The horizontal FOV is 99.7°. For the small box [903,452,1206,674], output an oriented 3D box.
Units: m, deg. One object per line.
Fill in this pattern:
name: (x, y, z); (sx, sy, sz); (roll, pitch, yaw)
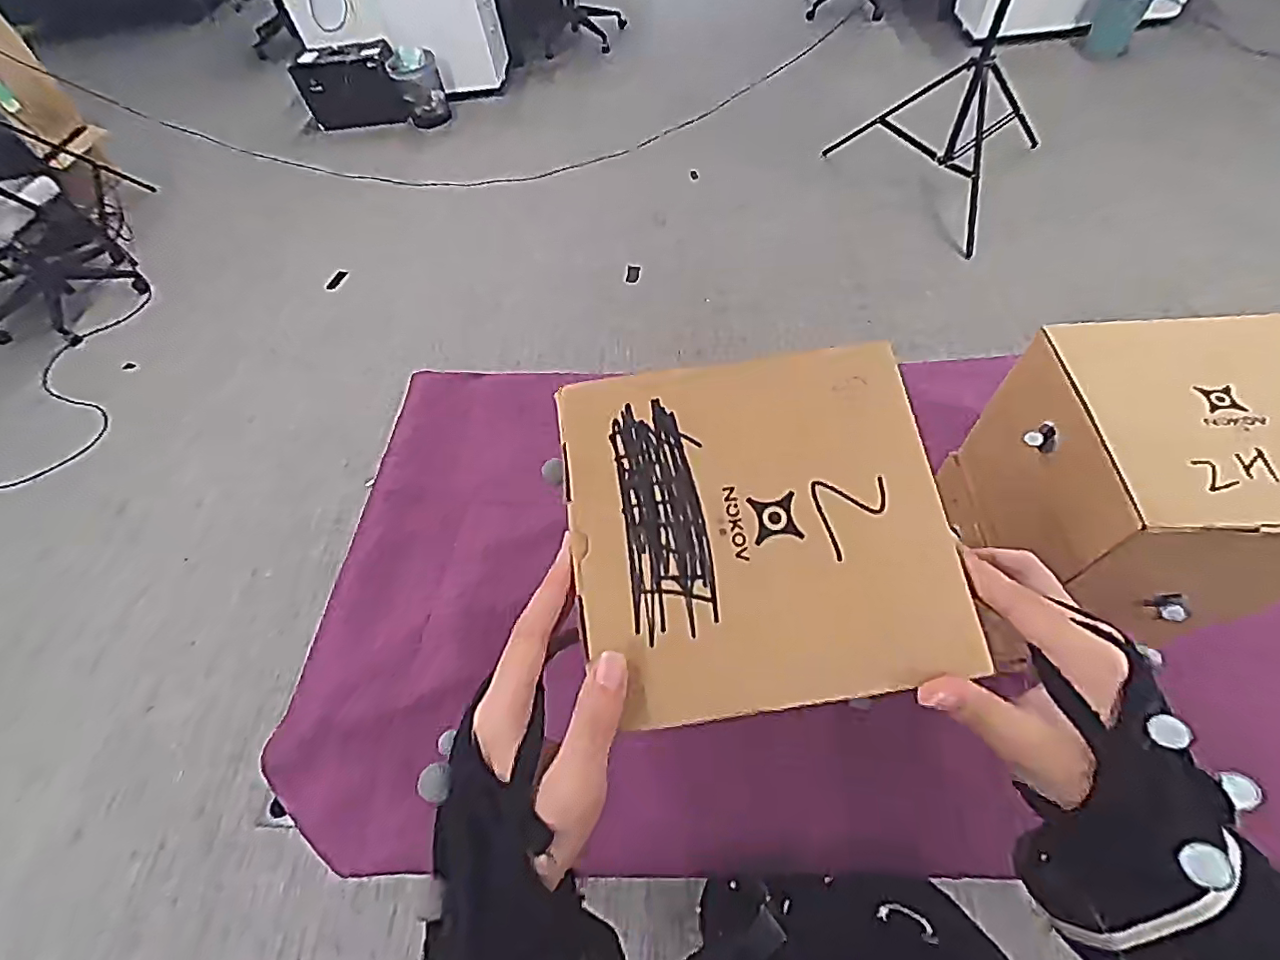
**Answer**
small box: (0.395, 0.088, 0.561); (0.168, 0.176, 0.179); (0, 57, 7)

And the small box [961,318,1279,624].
small box: (0.384, -0.002, 0.423); (0.168, 0.176, 0.179); (-1, 57, 7)

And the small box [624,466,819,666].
small box: (0.082, 0.100, 0.591); (0.179, 0.176, 0.168); (-1, 56, 5)
